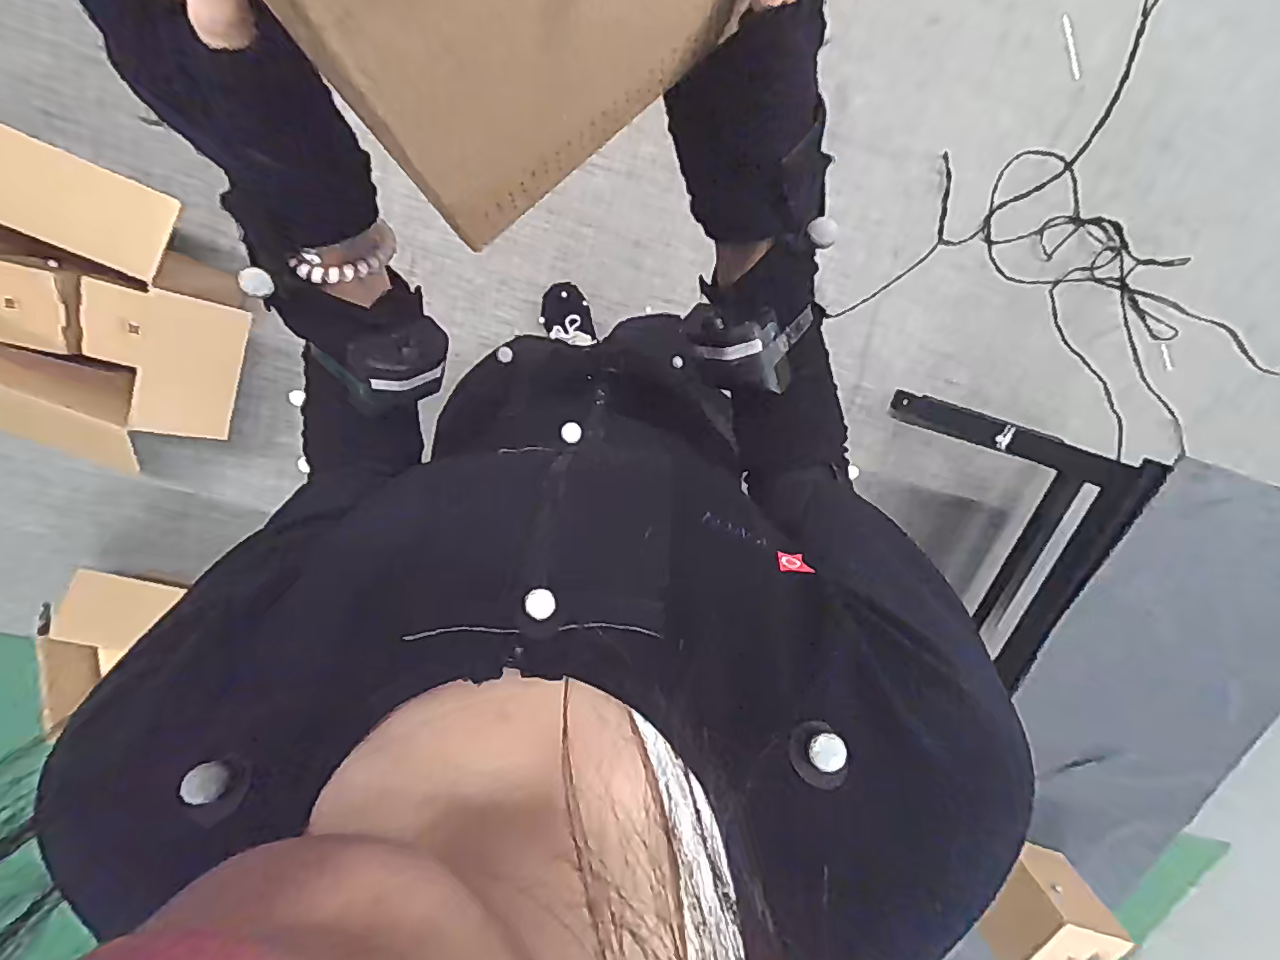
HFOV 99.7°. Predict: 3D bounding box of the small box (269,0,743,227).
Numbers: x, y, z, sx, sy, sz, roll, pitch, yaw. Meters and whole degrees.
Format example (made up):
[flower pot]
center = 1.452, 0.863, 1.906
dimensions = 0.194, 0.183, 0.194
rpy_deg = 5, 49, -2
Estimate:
[small box]
center = -0.058, -0.217, 0.163
dimensions = 0.179, 0.176, 0.168
rpy_deg = -40, 96, 1
